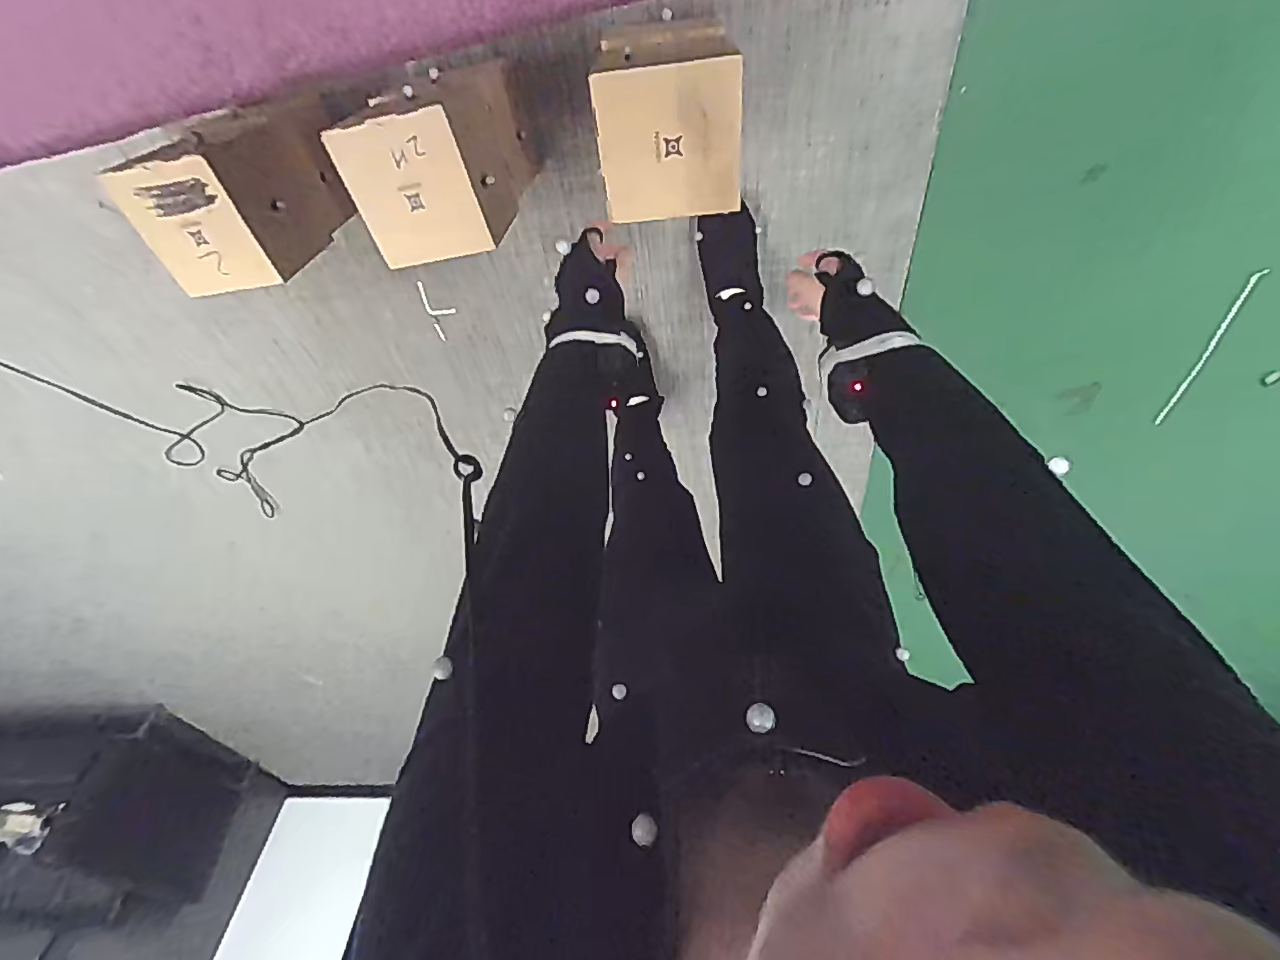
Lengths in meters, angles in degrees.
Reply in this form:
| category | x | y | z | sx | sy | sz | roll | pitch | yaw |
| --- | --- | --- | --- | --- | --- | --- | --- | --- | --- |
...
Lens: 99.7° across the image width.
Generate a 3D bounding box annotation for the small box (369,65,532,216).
| category | x | y | z | sx | sy | sz | roll | pitch | yaw |
| --- | --- | --- | --- | --- | --- | --- | --- | --- | --- |
| small box | -0.294 | -0.554 | 0.882 | 0.179 | 0.176 | 0.168 | -5 | 134 | 9 |
